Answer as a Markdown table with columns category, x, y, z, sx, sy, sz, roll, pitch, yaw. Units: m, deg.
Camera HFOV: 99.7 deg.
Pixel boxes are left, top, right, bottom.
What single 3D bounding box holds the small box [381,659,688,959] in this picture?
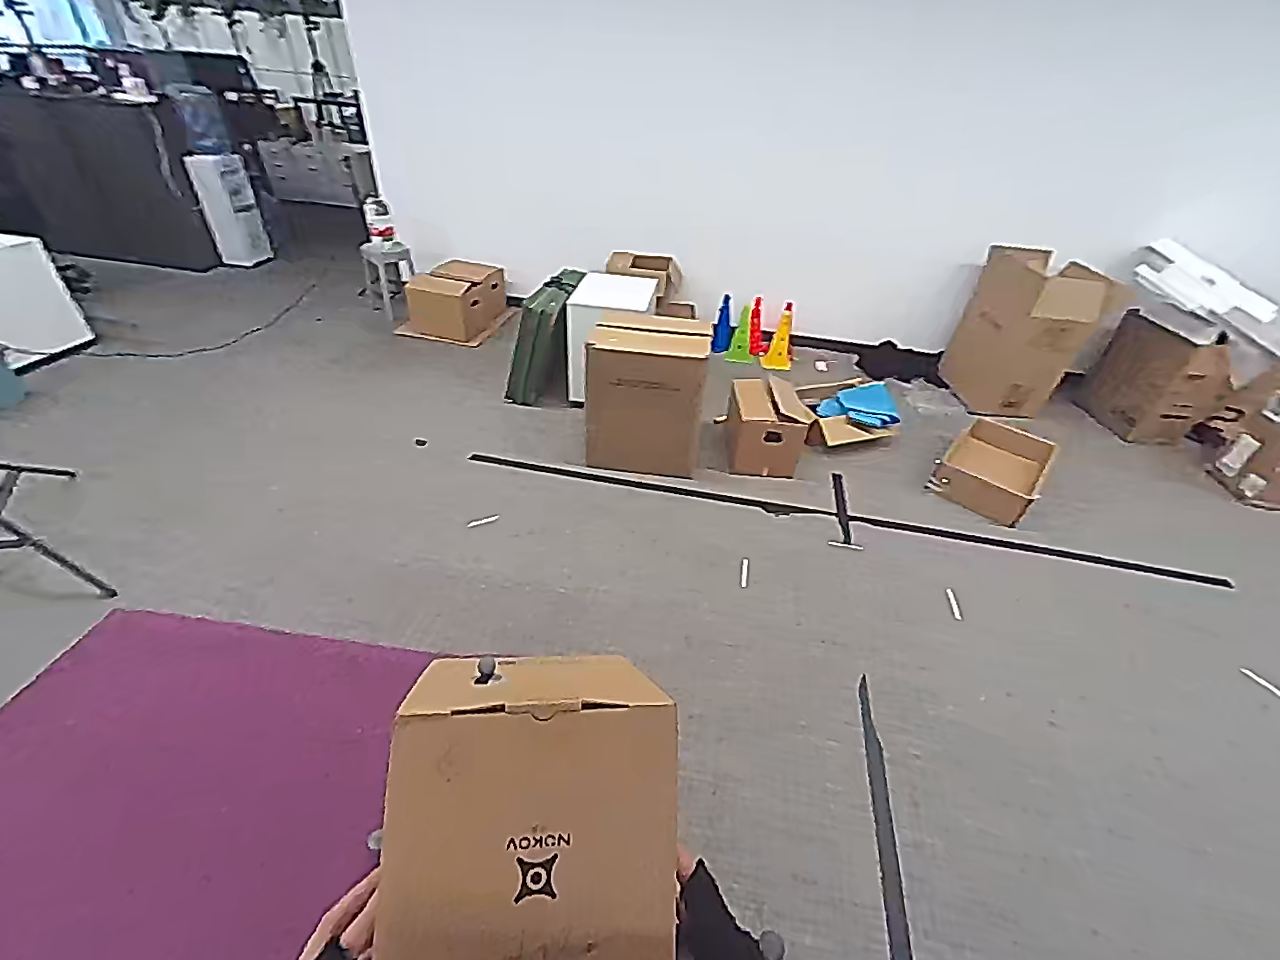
| category | x | y | z | sx | sy | sz | roll | pitch | yaw |
| --- | --- | --- | --- | --- | --- | --- | --- | --- | --- |
| small box | -0.071 | 0.225 | 0.378 | 0.168 | 0.176 | 0.179 | 4 | 81 | -12 |
